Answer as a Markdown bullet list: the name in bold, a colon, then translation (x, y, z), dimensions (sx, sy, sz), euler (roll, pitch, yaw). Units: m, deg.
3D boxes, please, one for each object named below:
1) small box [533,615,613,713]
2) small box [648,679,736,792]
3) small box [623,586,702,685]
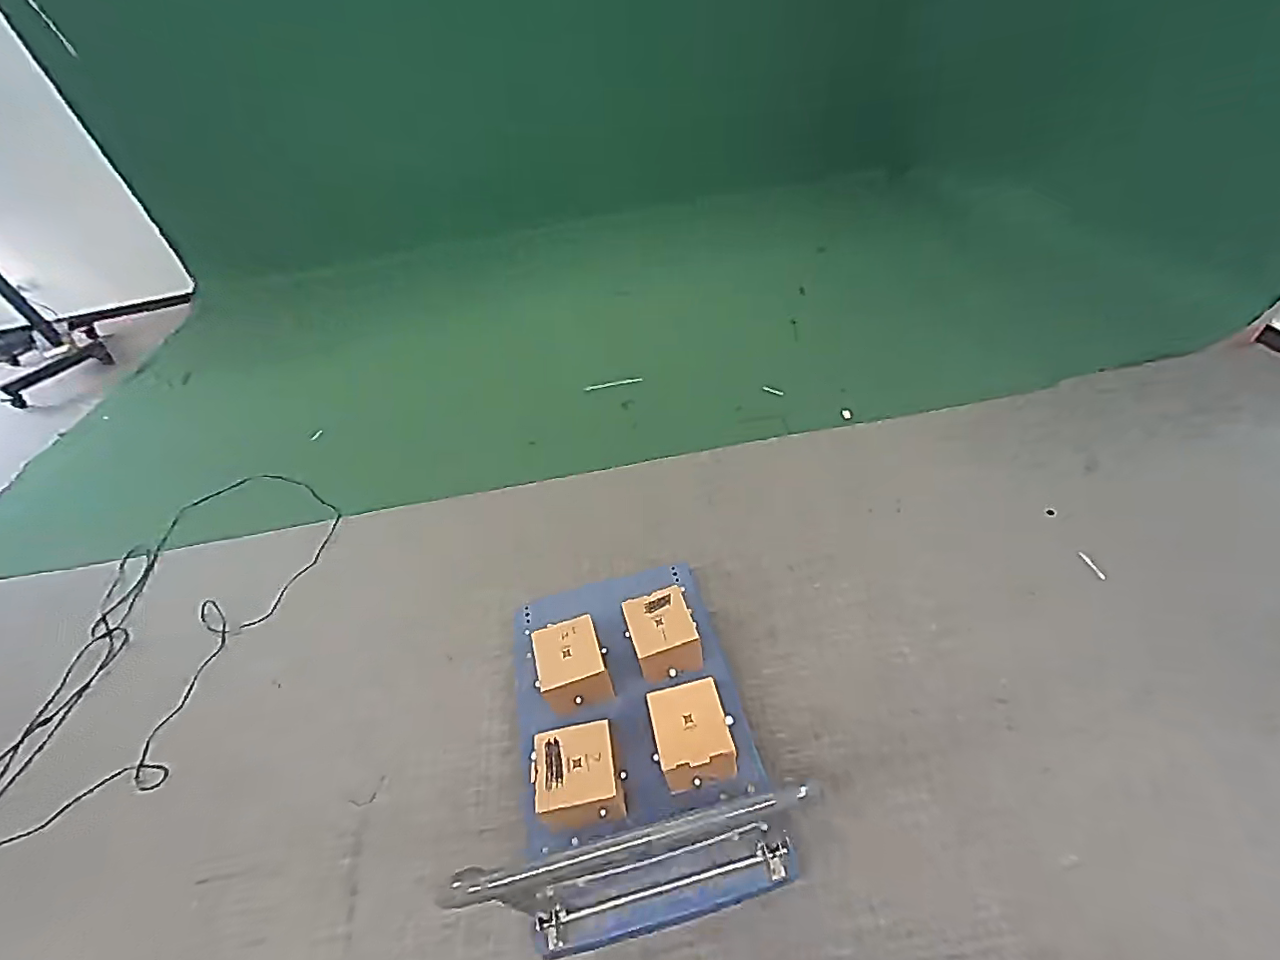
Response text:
- **small box**: translation (-0.177, 0.498, 1.445), dimensions (0.168, 0.176, 0.179), euler (-16, 44, -7)
- **small box**: translation (0.121, 0.606, 1.282), dimensions (0.168, 0.176, 0.179), euler (-13, 45, -3)
- **small box**: translation (0.062, 0.425, 1.474), dimensions (0.168, 0.176, 0.179), euler (-17, 46, -6)
